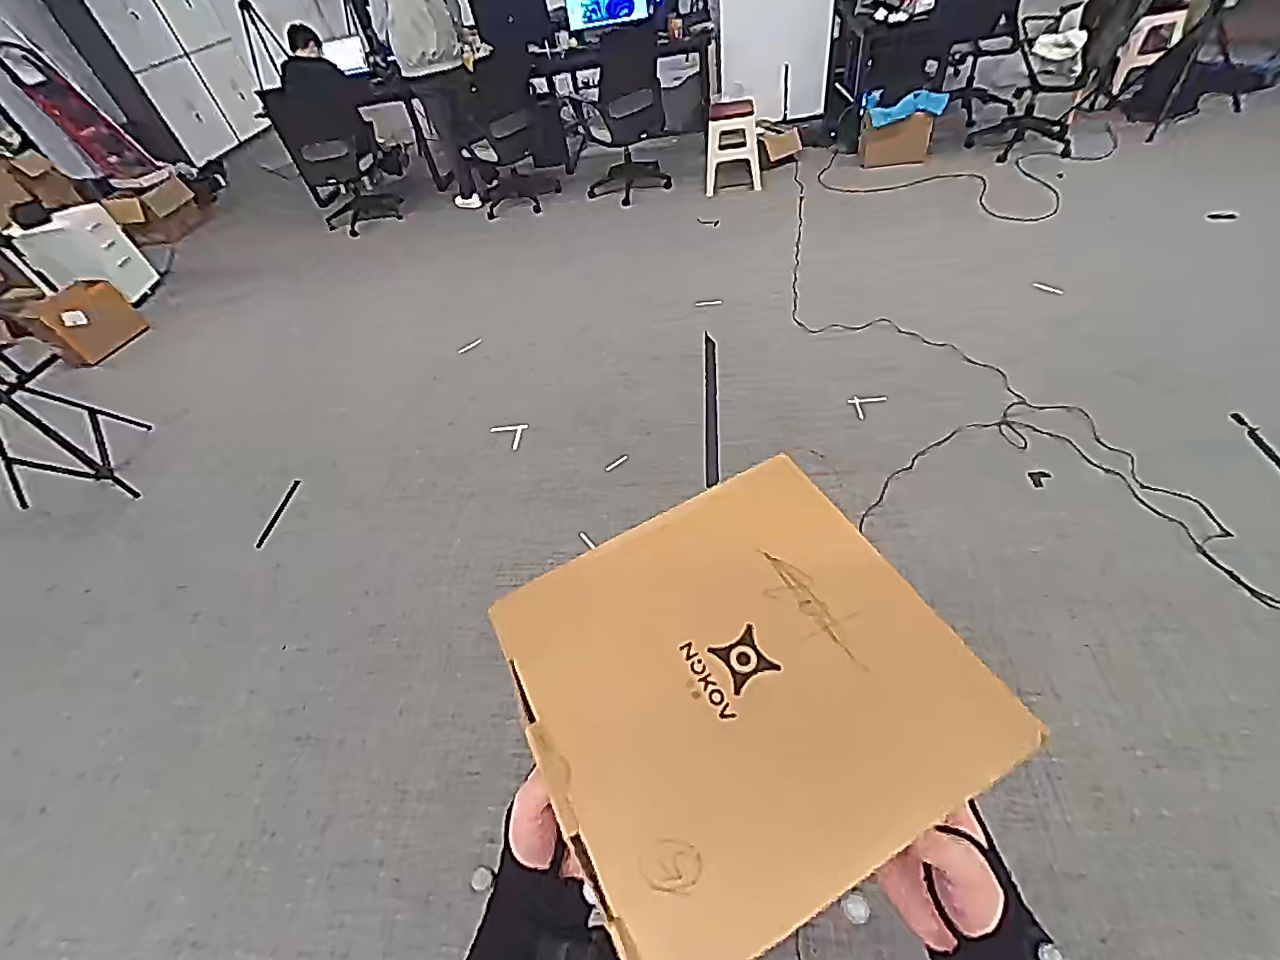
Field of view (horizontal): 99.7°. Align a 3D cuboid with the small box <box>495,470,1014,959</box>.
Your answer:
[{"bbox_3d":[0.048,0.133,0.306,0.179,0.176,0.168,-27,56,-13],"label":"small box"}]
